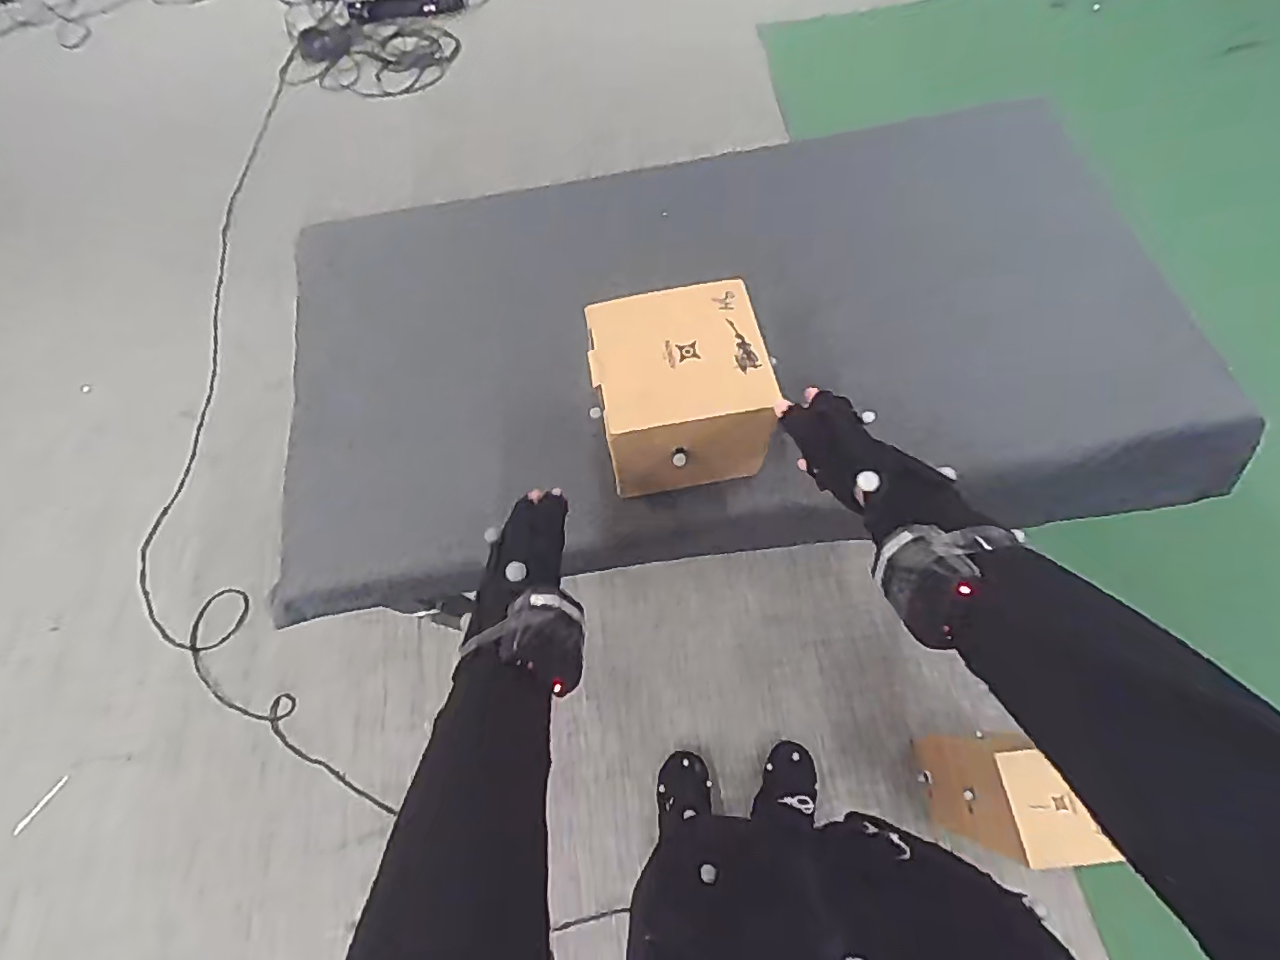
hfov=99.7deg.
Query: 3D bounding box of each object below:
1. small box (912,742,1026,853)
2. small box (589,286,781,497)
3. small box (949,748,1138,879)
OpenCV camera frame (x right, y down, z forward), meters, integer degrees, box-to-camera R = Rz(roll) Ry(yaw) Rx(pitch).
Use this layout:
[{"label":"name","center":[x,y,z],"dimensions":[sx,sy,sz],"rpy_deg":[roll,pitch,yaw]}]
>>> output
[{"label":"small box","center":[0.684,0.629,1.088],"dimensions":[0.179,0.176,0.168],"rpy_deg":[-7,66,2]},{"label":"small box","center":[0.047,-0.092,0.629],"dimensions":[0.179,0.176,0.168],"rpy_deg":[-10,67,-1]},{"label":"small box","center":[0.680,0.565,0.936],"dimensions":[0.179,0.176,0.168],"rpy_deg":[-6,66,1]}]
